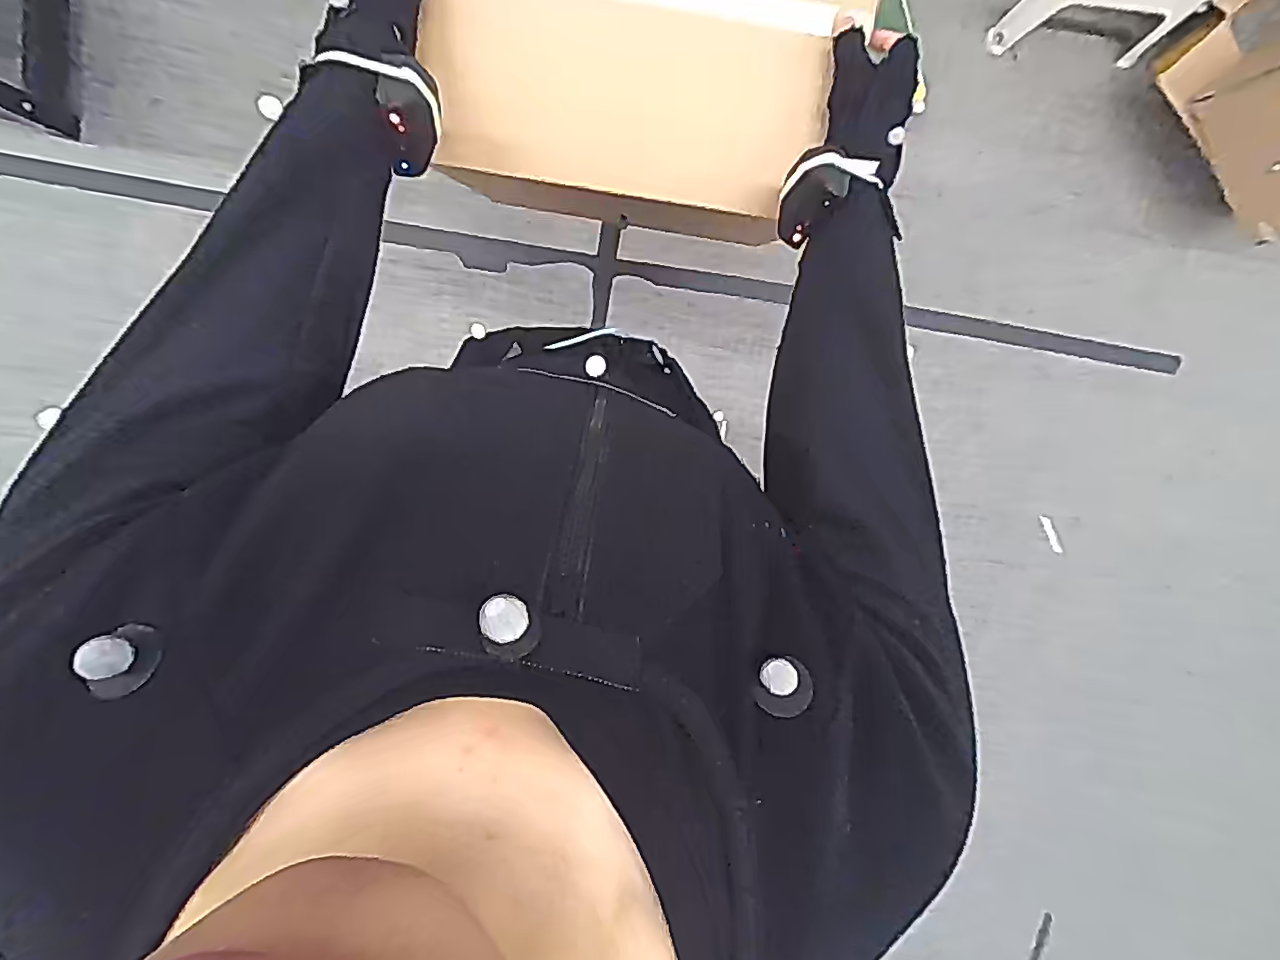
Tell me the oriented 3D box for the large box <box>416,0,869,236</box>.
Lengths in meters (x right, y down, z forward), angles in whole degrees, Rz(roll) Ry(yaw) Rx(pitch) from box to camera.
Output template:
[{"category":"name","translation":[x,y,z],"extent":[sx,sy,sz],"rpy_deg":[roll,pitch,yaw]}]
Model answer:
[{"category":"large box","translation":[0.005,-0.478,0.616],"extent":[0.408,0.320,0.320],"rpy_deg":[8,109,-3]}]
